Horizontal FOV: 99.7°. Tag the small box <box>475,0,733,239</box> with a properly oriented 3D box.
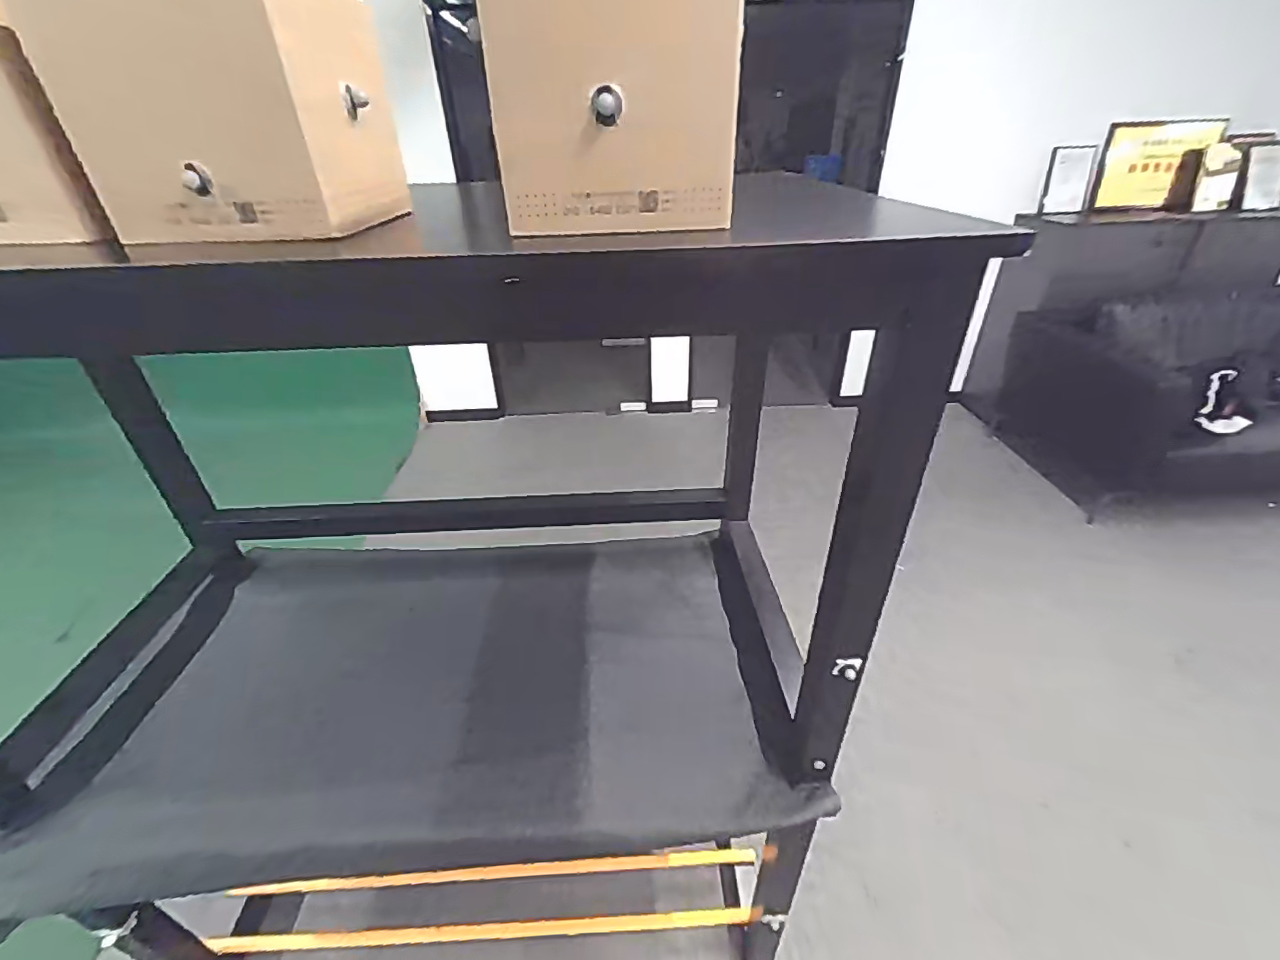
[{"bbox_3d":[-0.020,-0.295,0.435,0.168,0.176,0.179,-2,33,-1],"label":"small box"}]
